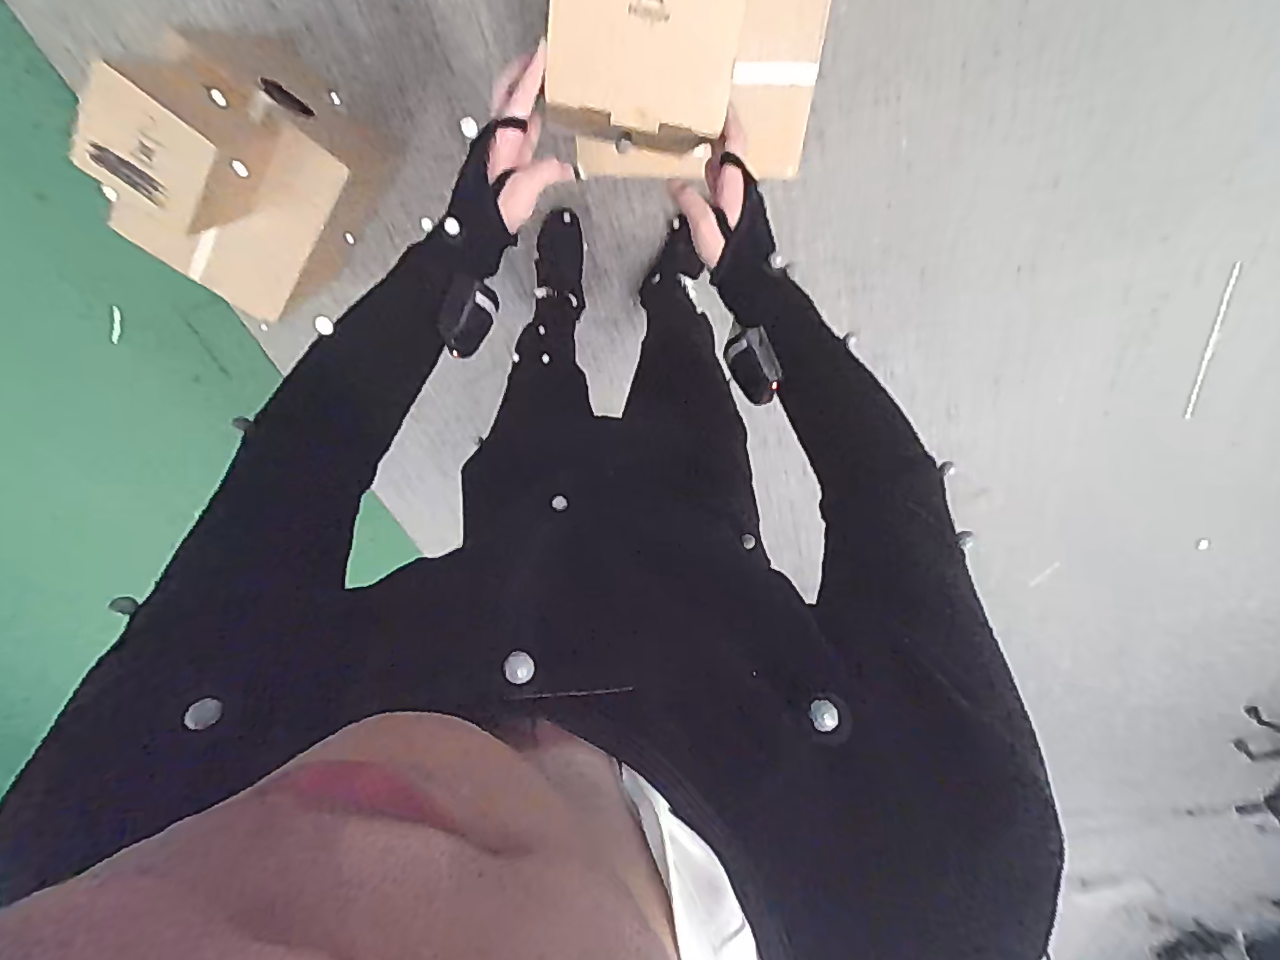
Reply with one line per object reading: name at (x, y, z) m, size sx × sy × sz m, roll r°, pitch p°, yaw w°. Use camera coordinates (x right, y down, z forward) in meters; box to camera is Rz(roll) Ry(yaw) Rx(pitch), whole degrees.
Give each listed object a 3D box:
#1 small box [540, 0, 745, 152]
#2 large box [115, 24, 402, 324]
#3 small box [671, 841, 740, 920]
small box at (-0.003, -0.433, 0.519) m, size 0.168 × 0.176 × 0.179 m, roll 5°, pitch 115°, yaw -11°
large box at (-0.765, -0.621, 1.120) m, size 0.320 × 0.320 × 0.408 m, roll 35°, pitch 120°, yaw -23°
small box at (0.209, 1.295, 1.753) m, size 0.179 × 0.176 × 0.168 m, roll -16°, pitch 127°, yaw 12°
